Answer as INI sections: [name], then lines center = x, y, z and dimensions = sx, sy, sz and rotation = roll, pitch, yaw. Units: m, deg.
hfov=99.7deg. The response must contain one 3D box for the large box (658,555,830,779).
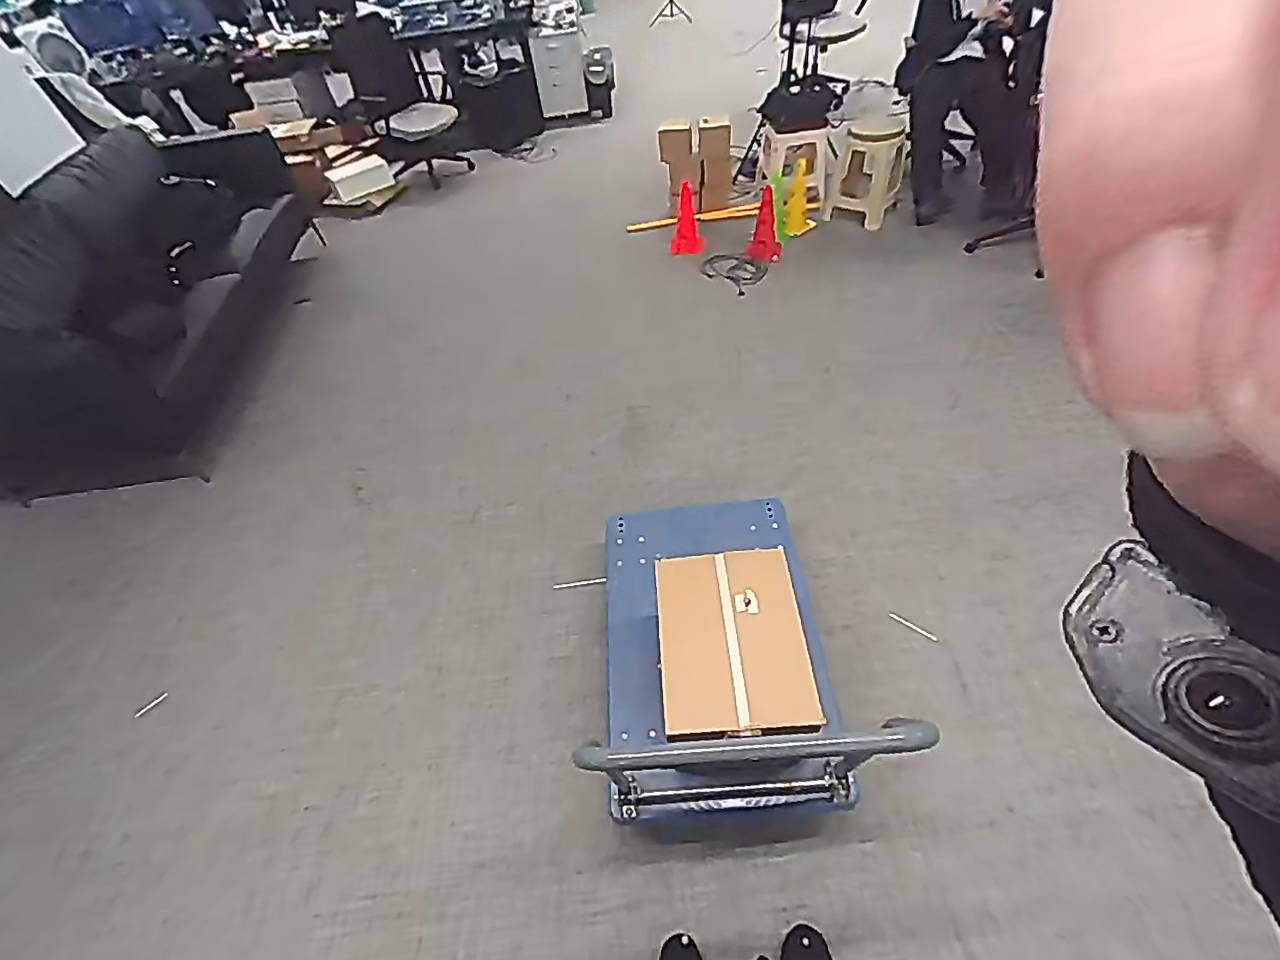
[large box]
center = 0.223, 0.442, 1.280
dimensions = 0.320, 0.320, 0.408
rotation = -6, 49, 3
